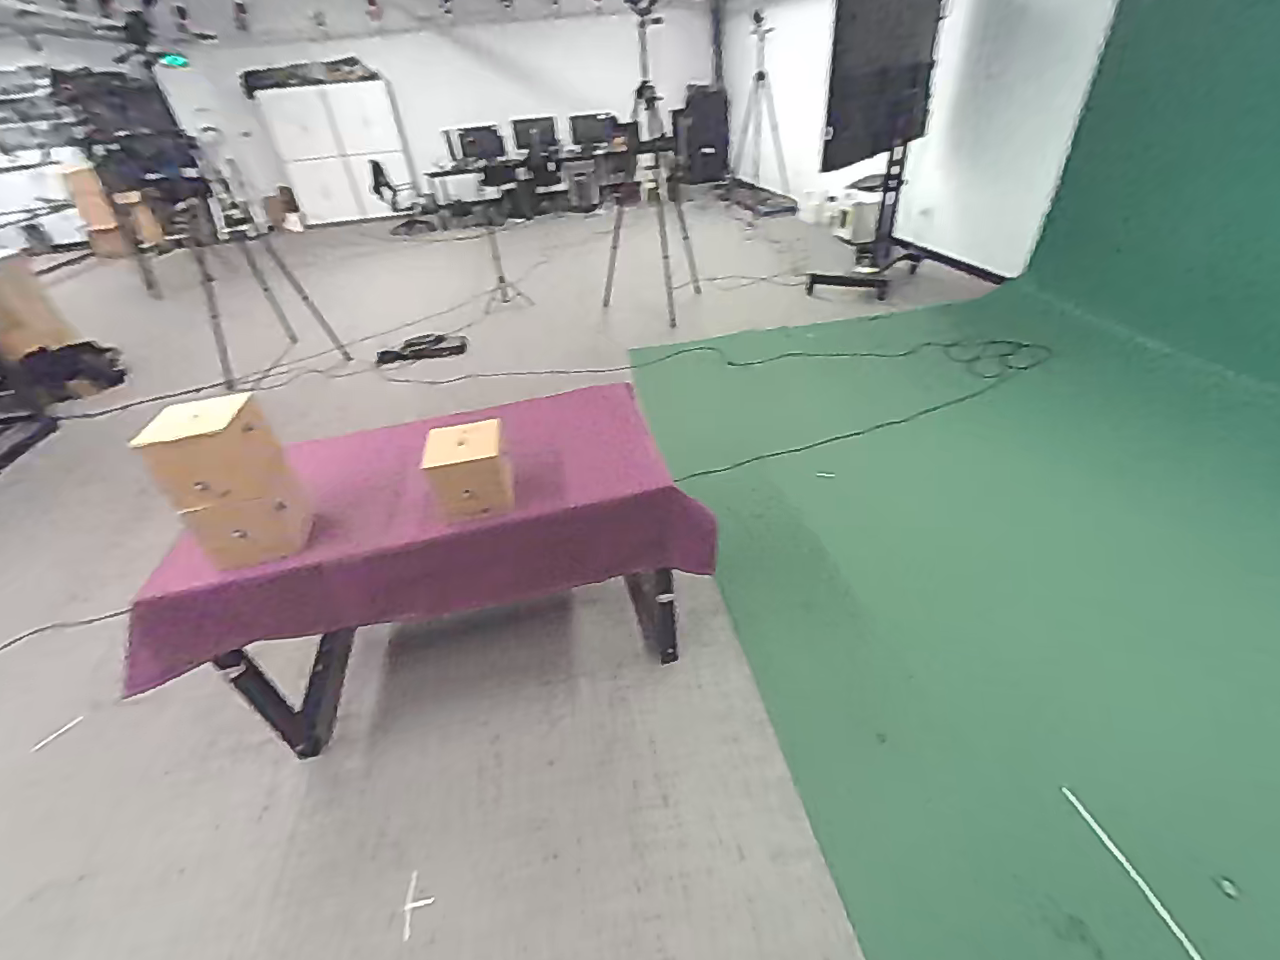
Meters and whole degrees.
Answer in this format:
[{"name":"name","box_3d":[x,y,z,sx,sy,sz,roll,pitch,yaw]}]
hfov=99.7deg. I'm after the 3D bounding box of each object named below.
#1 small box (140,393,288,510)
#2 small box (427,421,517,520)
[{"name":"small box","box_3d":[-0.887,-0.062,1.152,0.168,0.176,0.179,-12,37,-8]},{"name":"small box","box_3d":[-0.397,-0.019,1.306,0.168,0.176,0.179,-9,36,-6]}]
